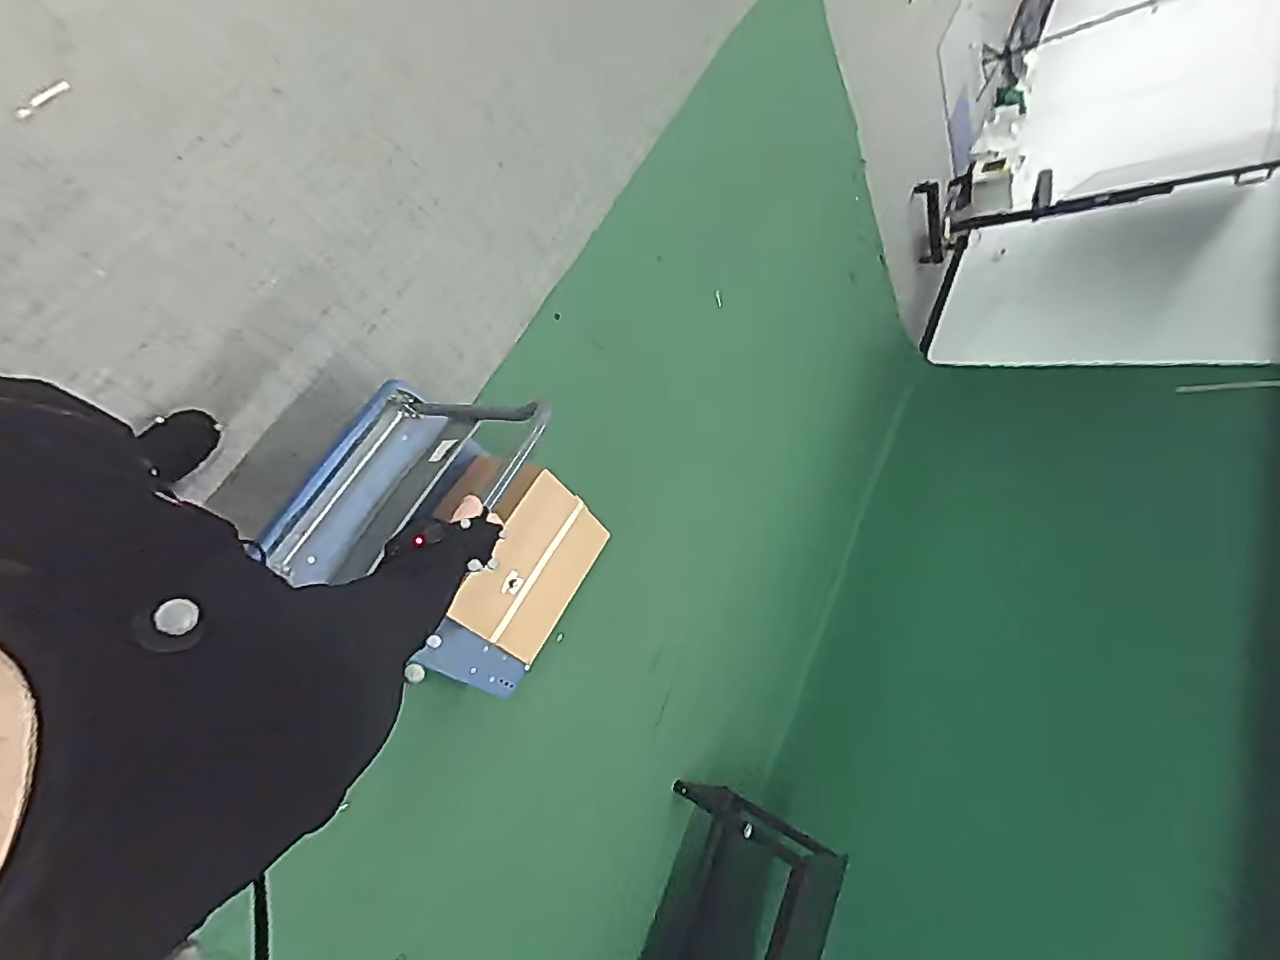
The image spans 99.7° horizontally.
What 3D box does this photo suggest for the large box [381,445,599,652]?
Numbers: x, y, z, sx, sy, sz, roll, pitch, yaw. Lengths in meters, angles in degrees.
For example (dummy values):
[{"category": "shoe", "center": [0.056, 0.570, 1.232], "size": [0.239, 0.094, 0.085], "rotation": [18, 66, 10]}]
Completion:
[{"category": "large box", "center": [-0.386, 0.167, 1.434], "size": [0.408, 0.320, 0.320], "rotation": [-58, 134, -21]}]
